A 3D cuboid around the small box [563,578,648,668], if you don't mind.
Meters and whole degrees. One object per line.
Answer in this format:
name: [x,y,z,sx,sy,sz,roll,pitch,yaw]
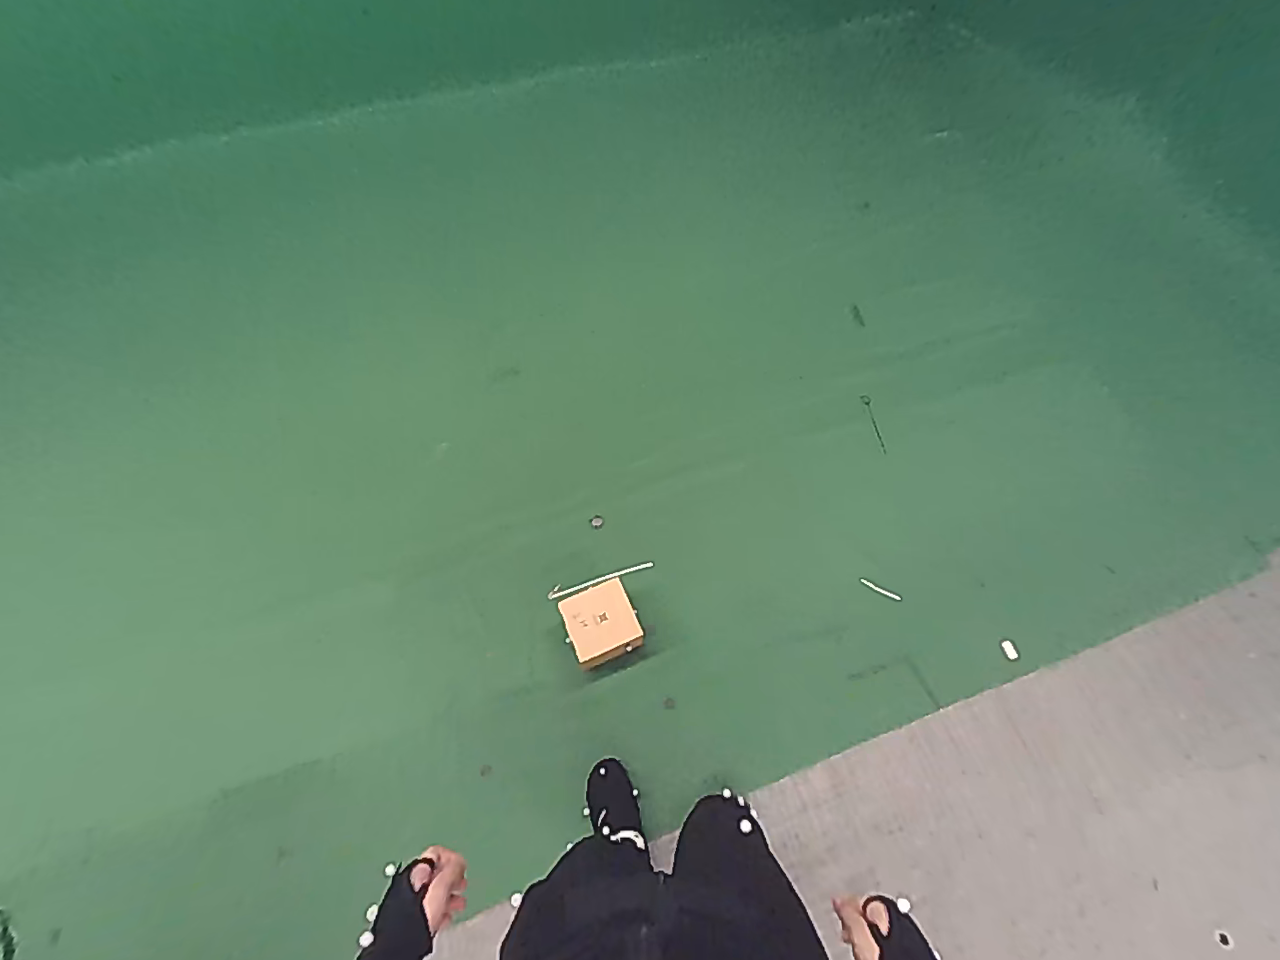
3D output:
small box: [-0.092,0.388,1.450,0.179,0.176,0.168,-22,67,-11]
